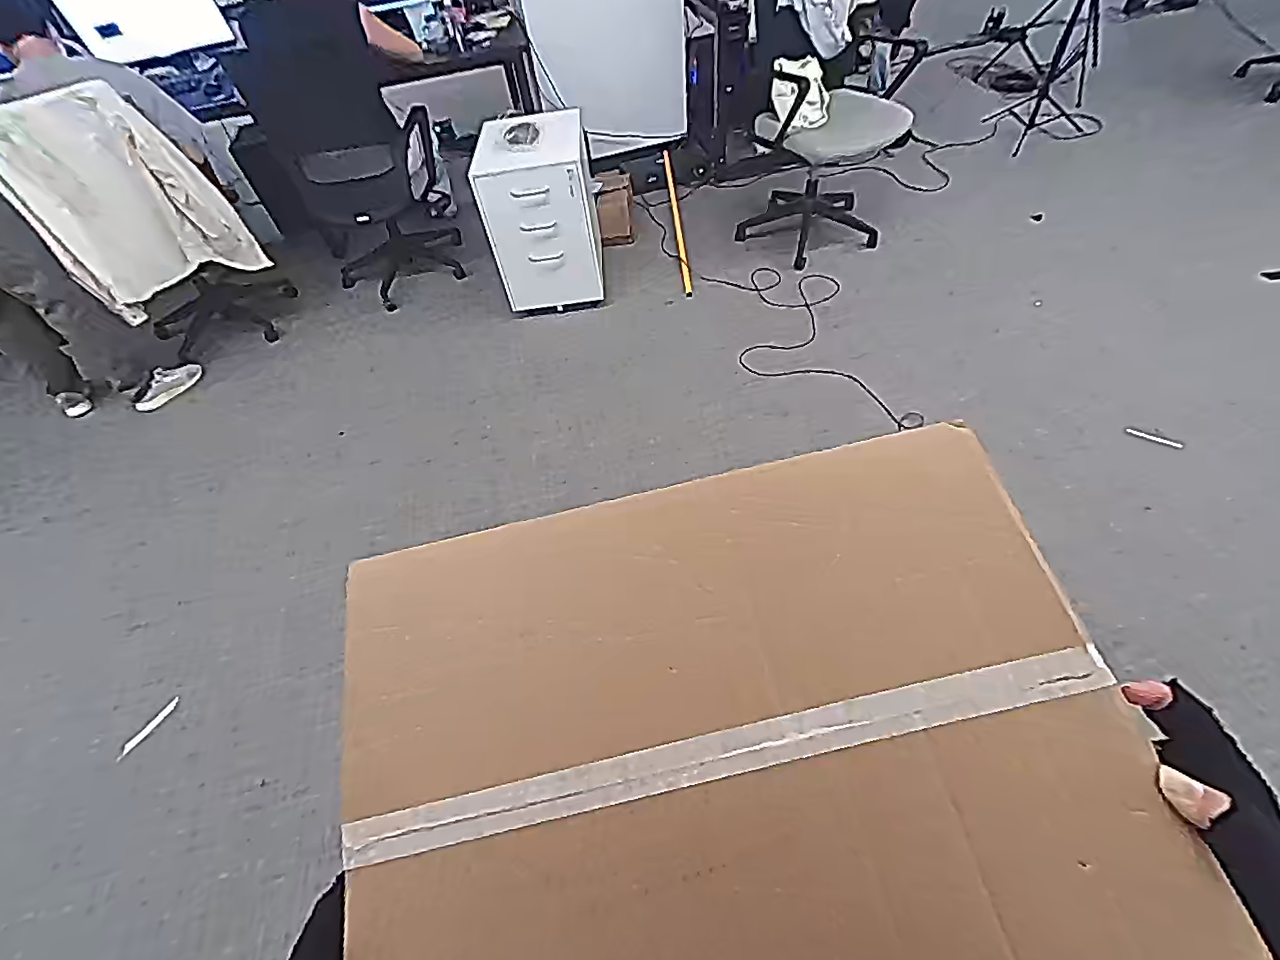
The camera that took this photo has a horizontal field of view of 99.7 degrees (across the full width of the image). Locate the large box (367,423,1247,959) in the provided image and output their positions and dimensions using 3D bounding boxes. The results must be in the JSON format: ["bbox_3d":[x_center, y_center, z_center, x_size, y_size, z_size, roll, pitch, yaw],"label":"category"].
[{"bbox_3d":[0.059,0.205,0.429,0.408,0.320,0.320,-14,65,0],"label":"large box"}]
